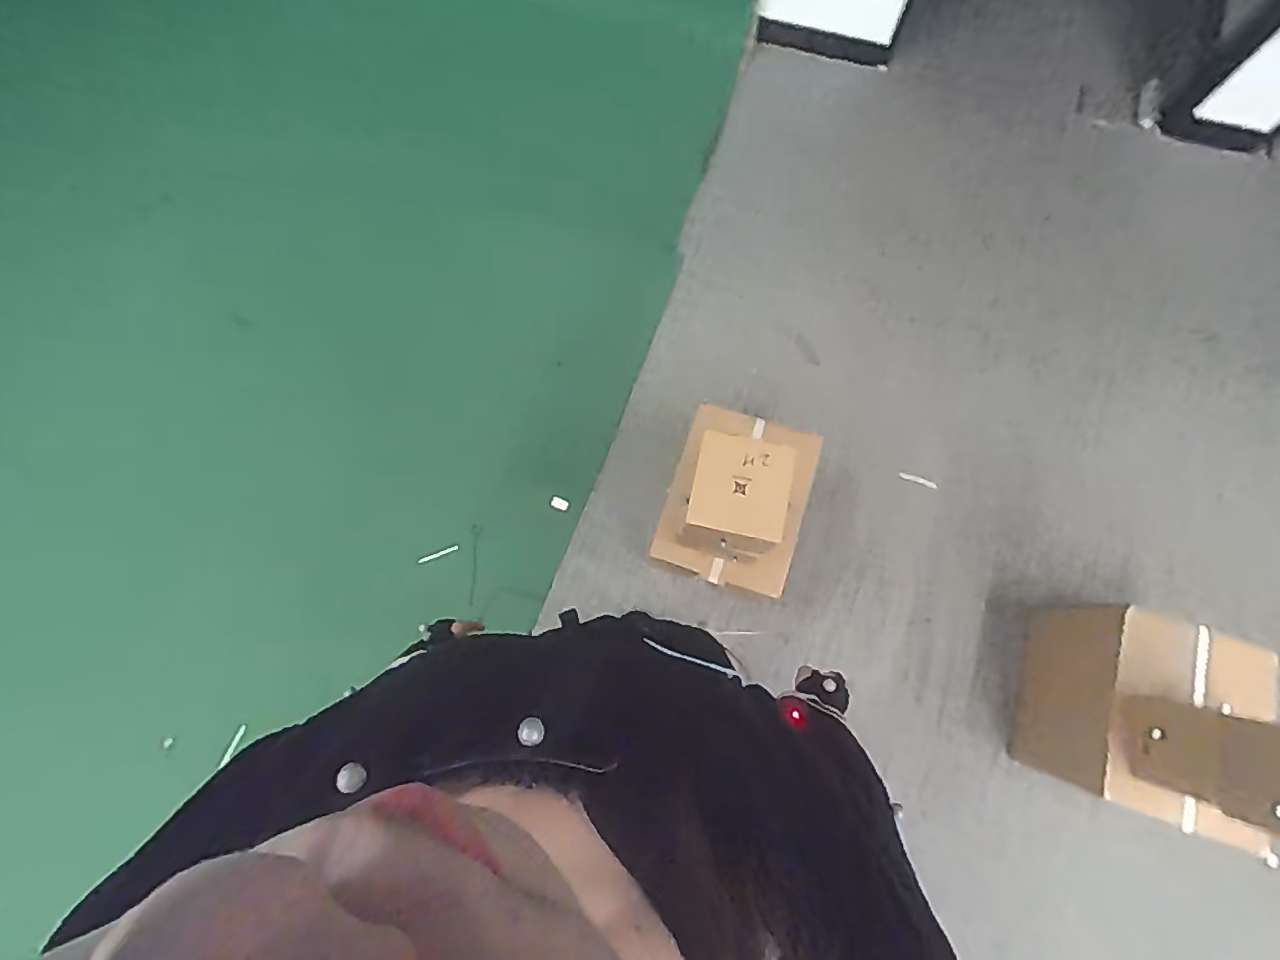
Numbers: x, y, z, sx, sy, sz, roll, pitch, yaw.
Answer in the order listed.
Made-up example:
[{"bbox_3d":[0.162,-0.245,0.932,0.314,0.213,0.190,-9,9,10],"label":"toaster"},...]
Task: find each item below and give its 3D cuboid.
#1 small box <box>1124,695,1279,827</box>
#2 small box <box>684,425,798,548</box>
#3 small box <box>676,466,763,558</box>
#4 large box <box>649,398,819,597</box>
[{"bbox_3d":[1.090,0.526,1.030,0.179,0.176,0.168,17,78,7],"label":"small box"},{"bbox_3d":[0.180,0.021,1.006,0.168,0.176,0.179,13,77,5],"label":"small box"},{"bbox_3d":[0.184,0.065,1.164,0.179,0.176,0.168,17,77,7],"label":"small box"},{"bbox_3d":[0.231,0.063,1.413,0.320,0.320,0.408,19,77,6],"label":"large box"}]
